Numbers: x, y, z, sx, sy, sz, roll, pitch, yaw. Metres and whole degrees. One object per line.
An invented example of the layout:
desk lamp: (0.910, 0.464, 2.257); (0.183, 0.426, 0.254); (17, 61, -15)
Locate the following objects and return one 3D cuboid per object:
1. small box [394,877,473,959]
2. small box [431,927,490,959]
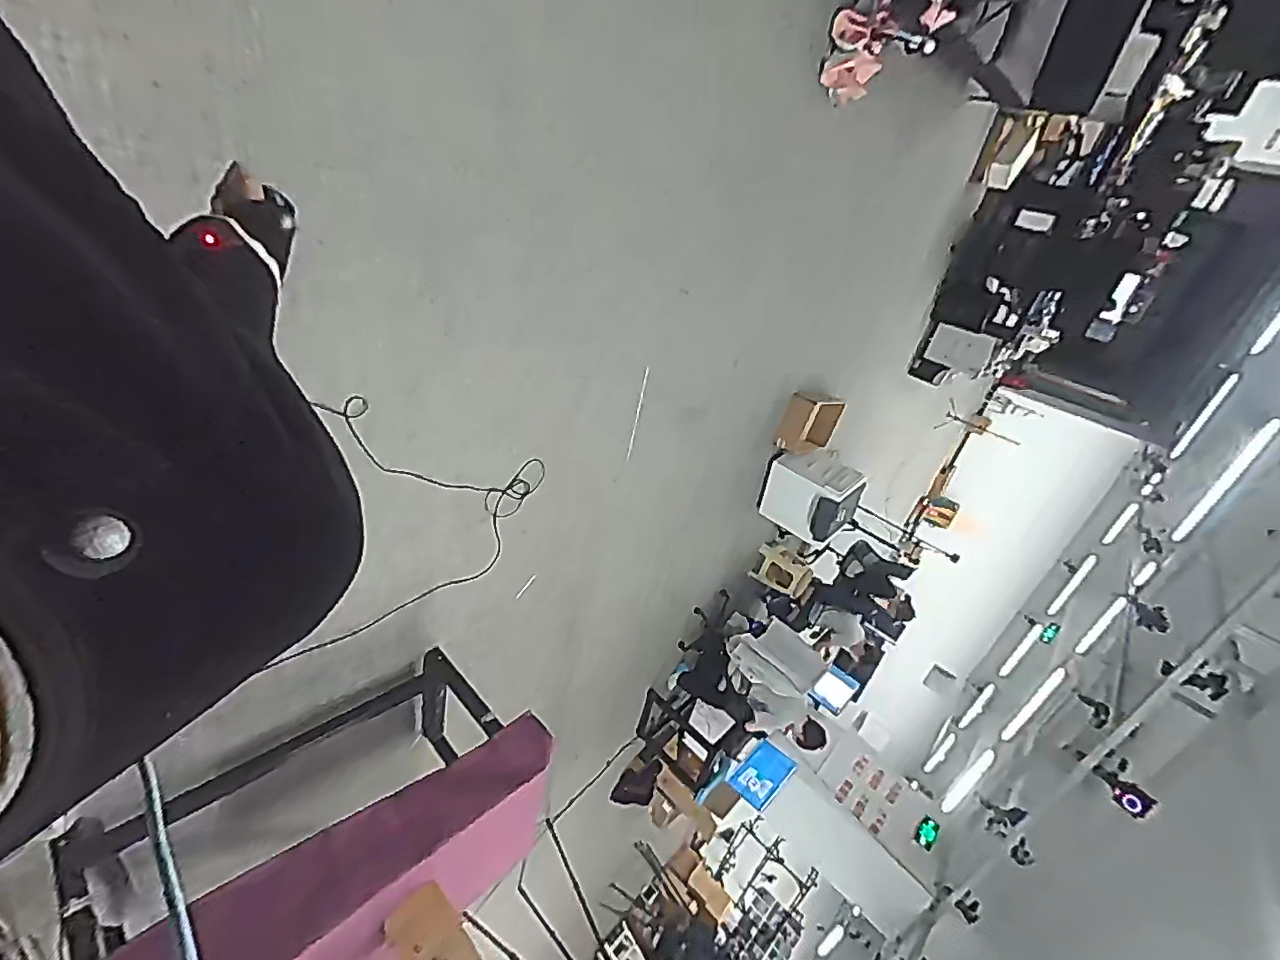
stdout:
small box: (-0.647, 1.408, 1.697); (0.179, 0.176, 0.168); (-22, 135, -41)
small box: (-0.536, 1.497, 1.611); (0.168, 0.176, 0.179); (-22, 135, -42)
